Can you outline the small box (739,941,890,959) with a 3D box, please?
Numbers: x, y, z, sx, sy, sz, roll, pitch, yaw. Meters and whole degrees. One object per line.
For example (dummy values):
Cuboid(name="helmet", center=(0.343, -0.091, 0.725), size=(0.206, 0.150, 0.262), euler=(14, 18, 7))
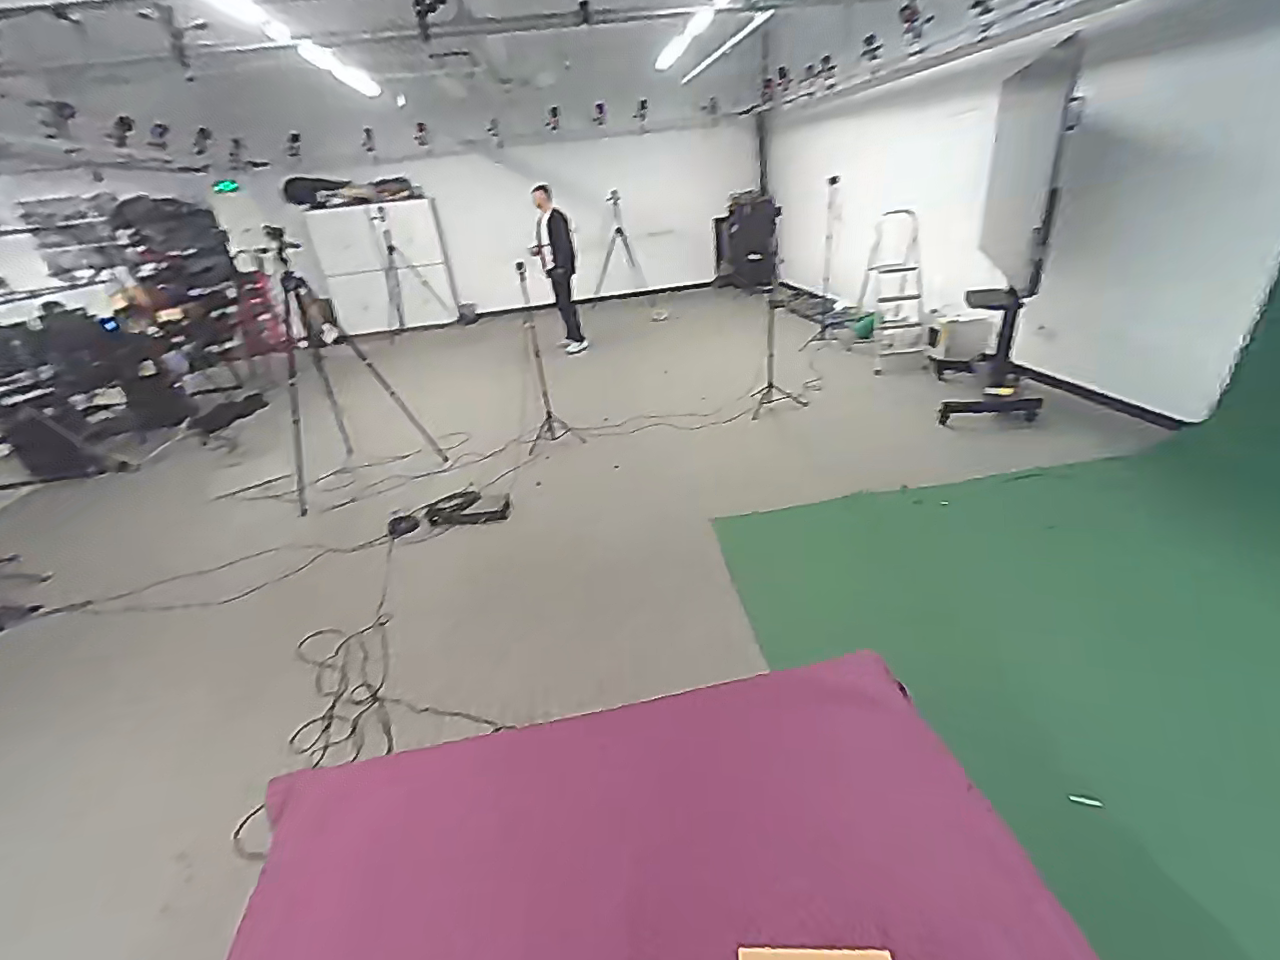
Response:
Cuboid(name="small box", center=(0.191, 0.625, 0.550), size=(0.168, 0.176, 0.179), euler=(-6, 18, 9))
